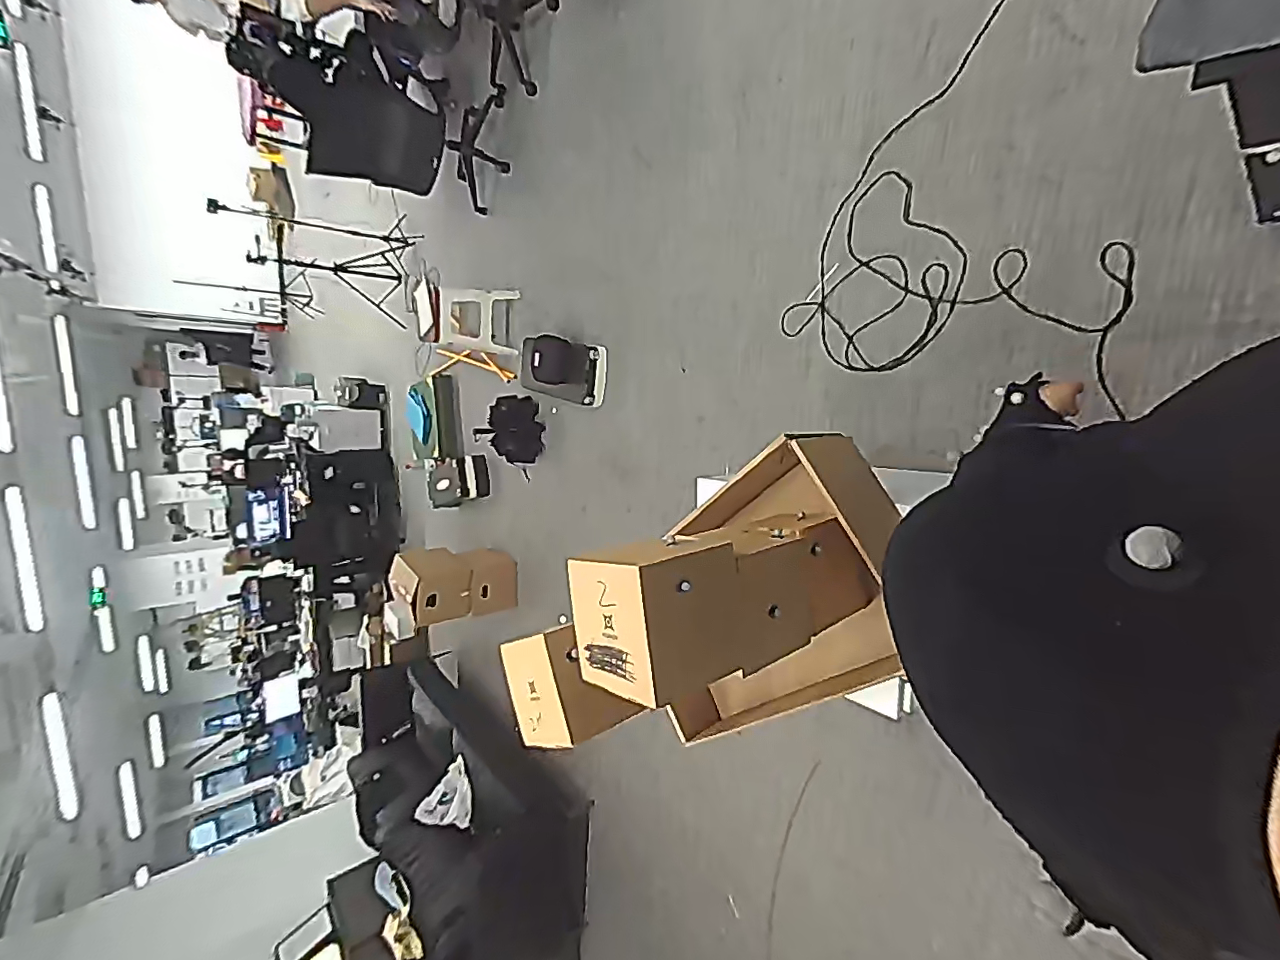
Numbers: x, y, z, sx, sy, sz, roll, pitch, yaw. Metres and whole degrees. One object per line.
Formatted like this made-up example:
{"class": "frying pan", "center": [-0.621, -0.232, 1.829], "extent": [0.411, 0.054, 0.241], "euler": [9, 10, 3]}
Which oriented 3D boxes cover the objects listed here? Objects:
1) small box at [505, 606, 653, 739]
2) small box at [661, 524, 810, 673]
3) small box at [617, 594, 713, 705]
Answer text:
{"class": "small box", "center": [-0.106, 0.327, 0.941], "extent": [0.168, 0.176, 0.179], "euler": [-30, 75, 48]}
{"class": "small box", "center": [0.154, 0.174, 0.865], "extent": [0.168, 0.176, 0.179], "euler": [3, 101, 51]}
{"class": "small box", "center": [0.011, 0.324, 1.058], "extent": [0.179, 0.176, 0.168], "euler": [-24, 79, 47]}
